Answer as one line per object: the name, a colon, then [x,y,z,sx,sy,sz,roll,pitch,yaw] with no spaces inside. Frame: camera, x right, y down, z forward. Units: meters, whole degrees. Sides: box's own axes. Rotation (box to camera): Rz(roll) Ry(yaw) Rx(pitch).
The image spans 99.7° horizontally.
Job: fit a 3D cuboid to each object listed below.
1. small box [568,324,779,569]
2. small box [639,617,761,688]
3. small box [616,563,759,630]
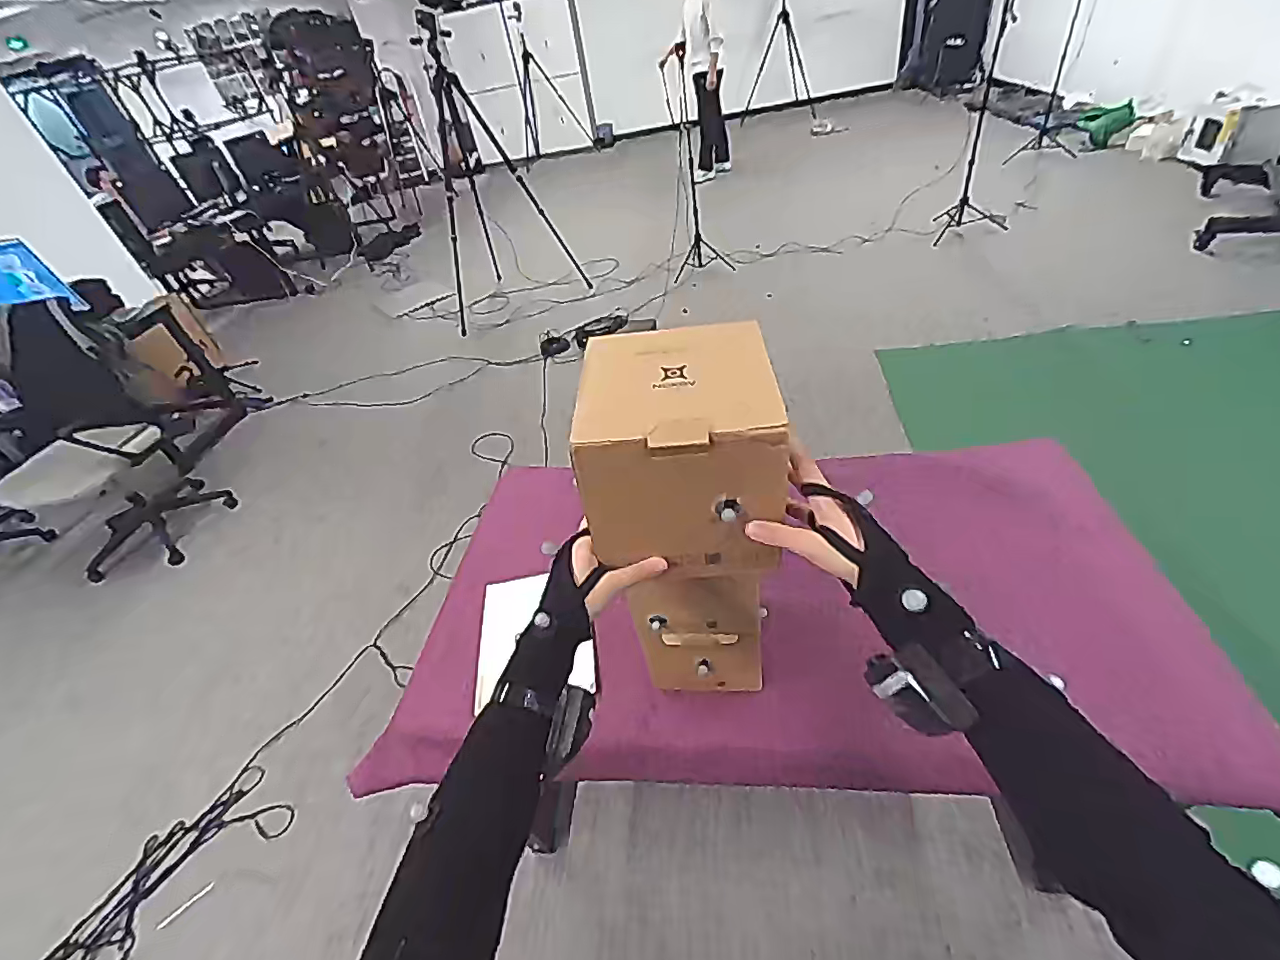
small box: [0.038,-0.027,0.520,0.168,0.176,0.179,-4,41,6]
small box: [0.100,0.207,0.843,0.168,0.176,0.179,-3,42,10]
small box: [0.072,0.087,0.732,0.168,0.176,0.179,-3,40,11]
